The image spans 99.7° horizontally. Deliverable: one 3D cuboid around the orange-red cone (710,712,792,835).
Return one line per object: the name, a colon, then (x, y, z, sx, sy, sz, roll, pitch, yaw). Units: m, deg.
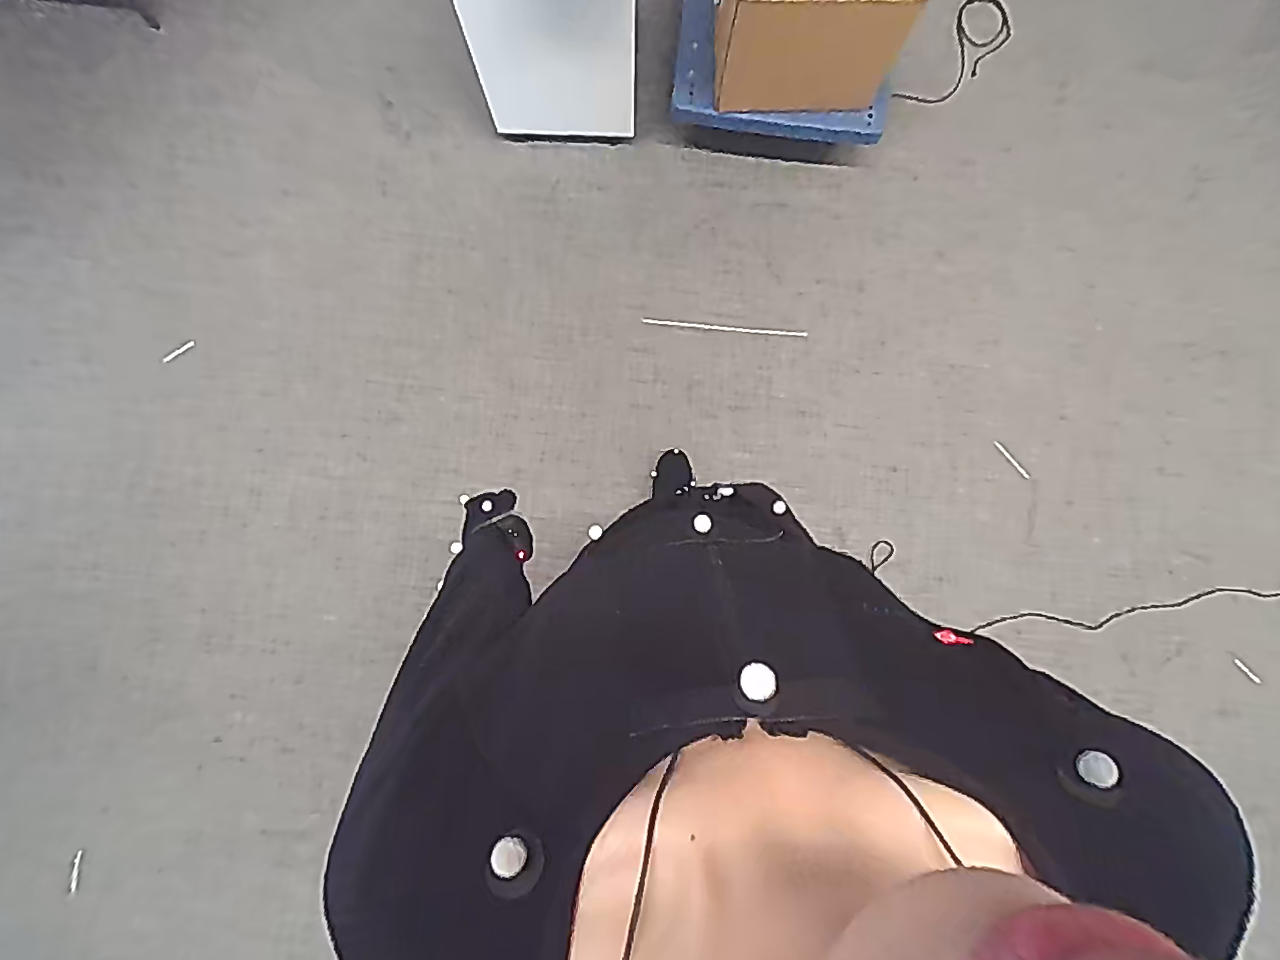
orange-red cone: (0.297, 0.729, 1.290, 0.198, 0.360, 0.199, 10, 87, 1)
